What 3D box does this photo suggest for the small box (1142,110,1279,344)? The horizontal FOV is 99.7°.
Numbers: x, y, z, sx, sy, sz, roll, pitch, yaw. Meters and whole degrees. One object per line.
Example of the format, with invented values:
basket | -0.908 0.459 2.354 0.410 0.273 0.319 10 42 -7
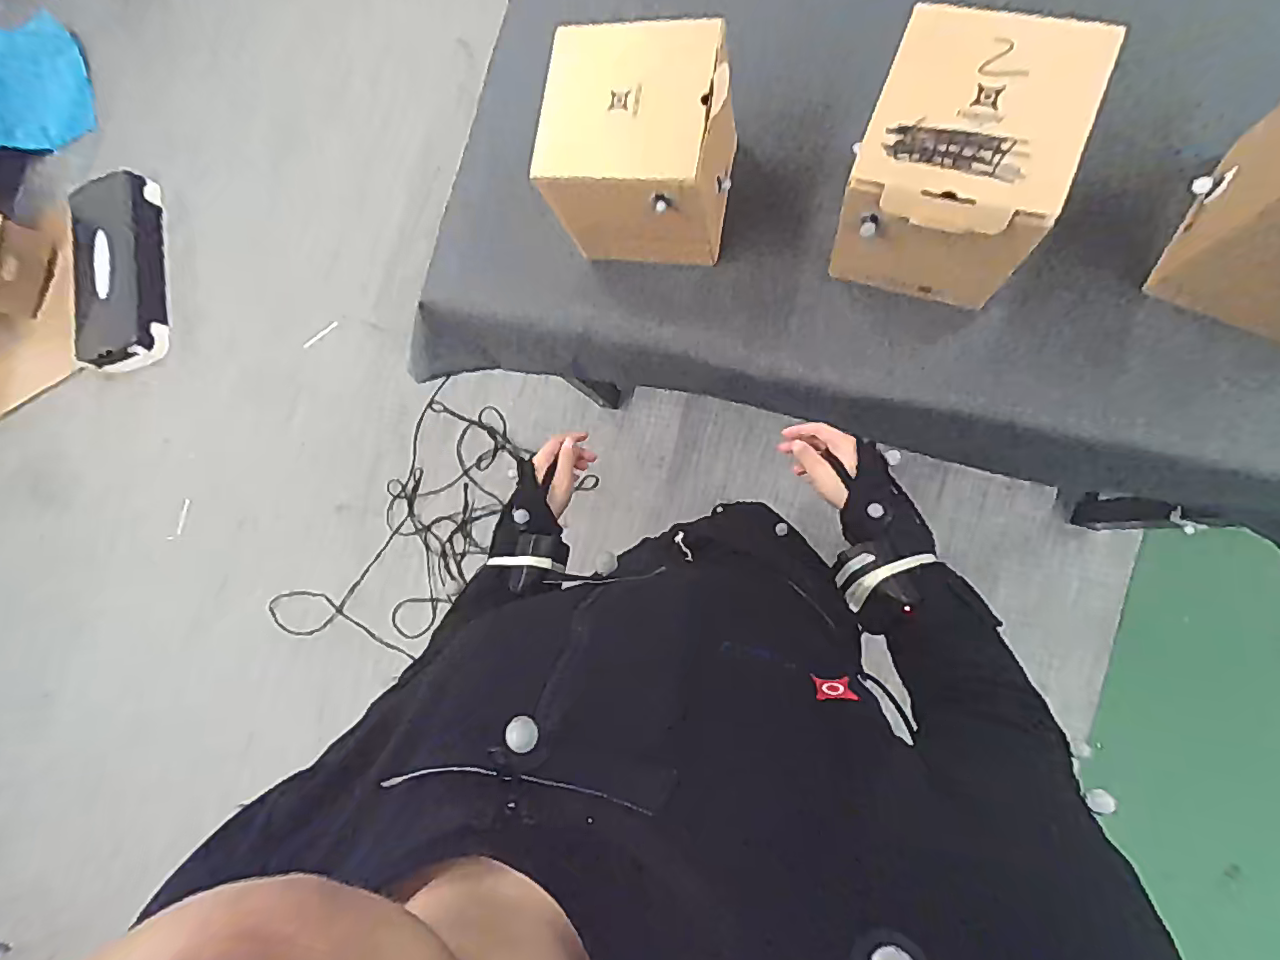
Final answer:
small box | 0.606 -0.231 0.458 0.179 0.176 0.168 31 91 15
